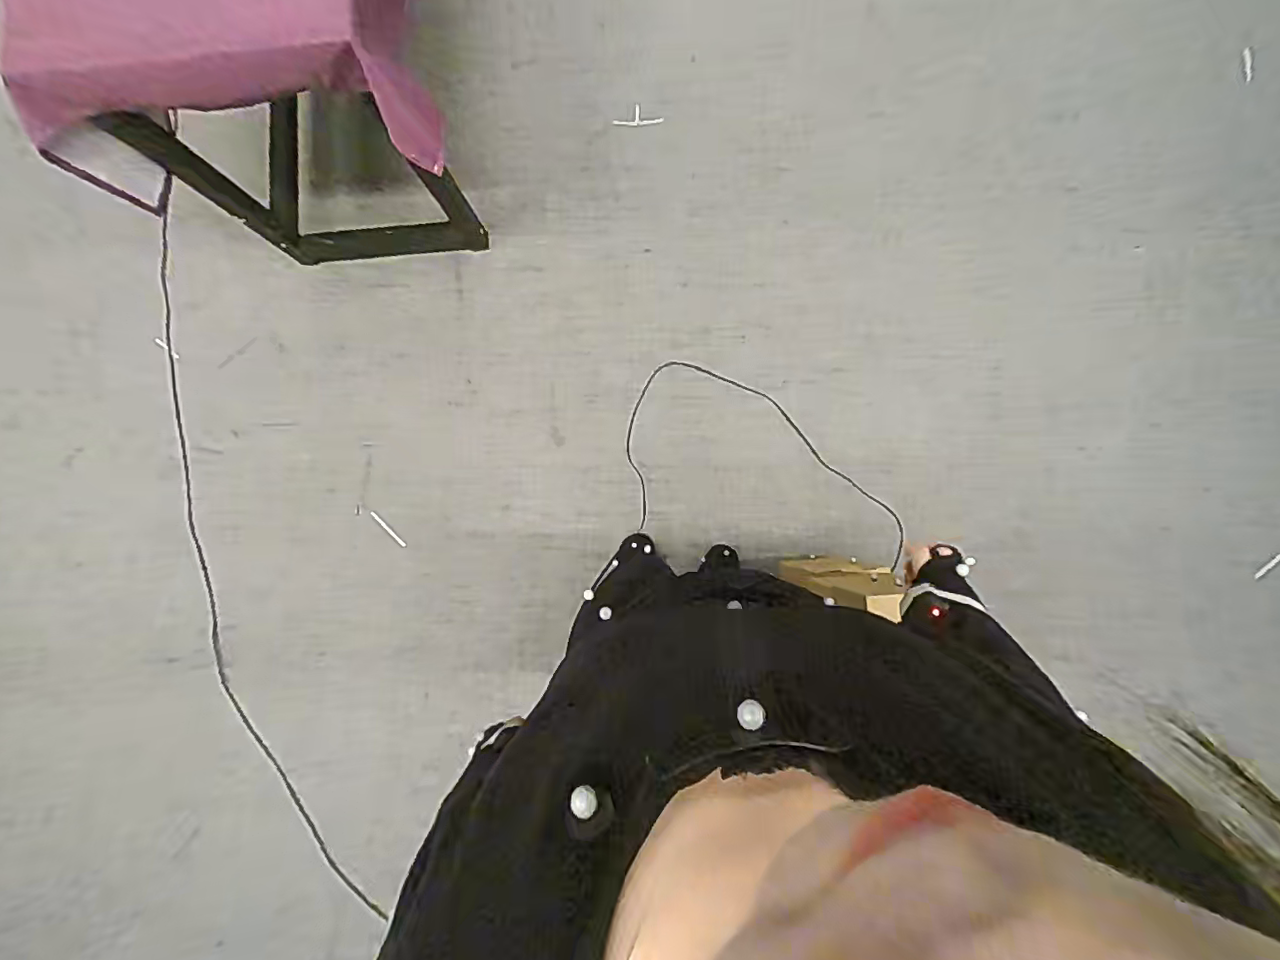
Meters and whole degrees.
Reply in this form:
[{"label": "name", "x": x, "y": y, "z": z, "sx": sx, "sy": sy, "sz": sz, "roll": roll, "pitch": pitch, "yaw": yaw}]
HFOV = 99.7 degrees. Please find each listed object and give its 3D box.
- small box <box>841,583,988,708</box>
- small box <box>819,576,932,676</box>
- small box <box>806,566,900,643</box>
[{"label": "small box", "x": 0.450, "y": 0.268, "z": 0.912, "sx": 0.168, "sy": 0.176, "sz": 0.179, "roll": -3, "pitch": 85, "yaw": 4}, {"label": "small box", "x": 0.464, "y": 0.284, "z": 1.076, "sx": 0.179, "sy": 0.176, "sz": 0.168, "roll": -4, "pitch": 85, "yaw": 2}, {"label": "small box", "x": 0.487, "y": 0.290, "z": 1.238, "sx": 0.168, "sy": 0.176, "sz": 0.179, "roll": -4, "pitch": 86, "yaw": 4}]
